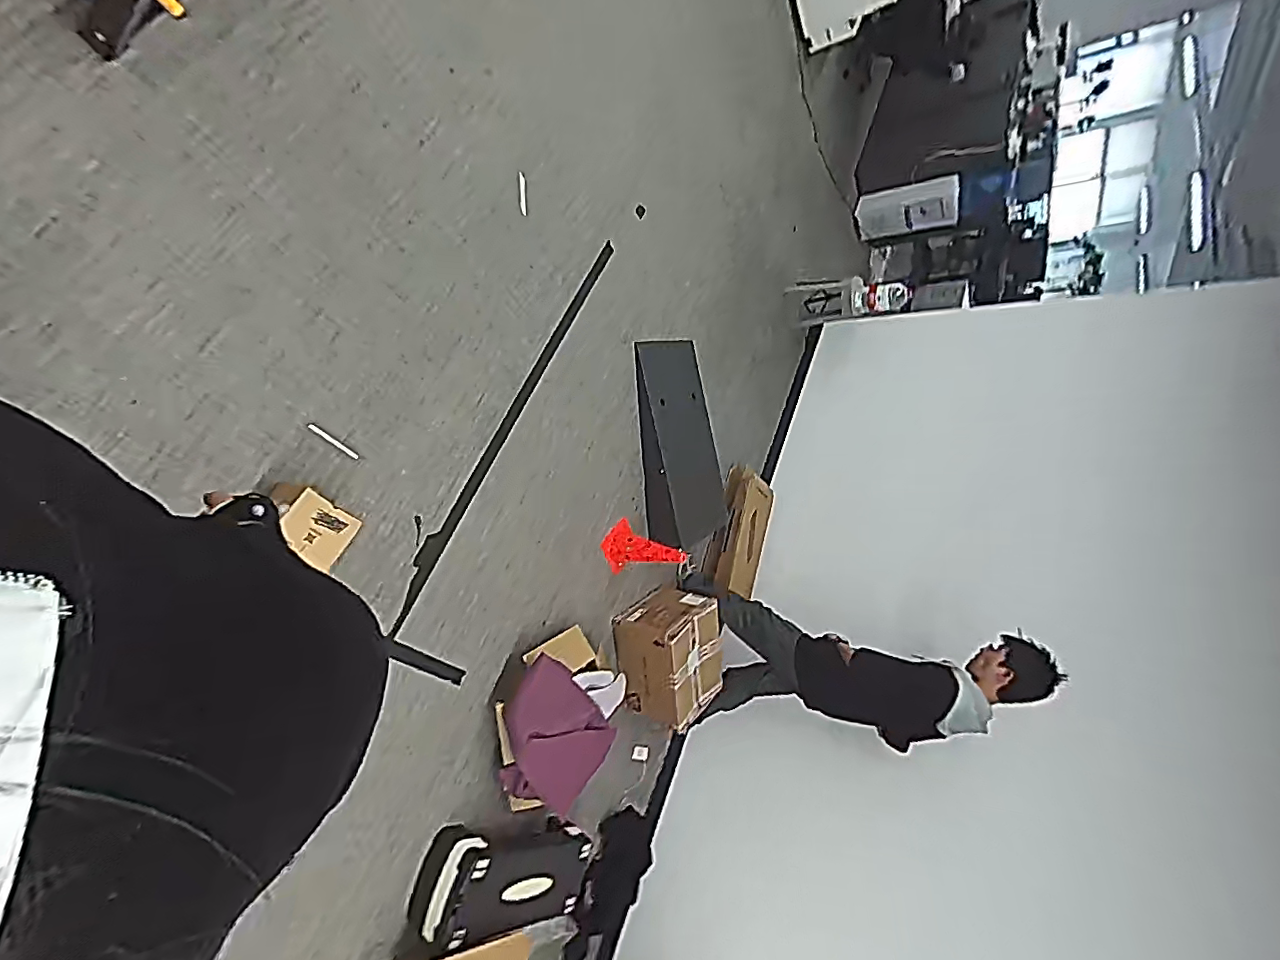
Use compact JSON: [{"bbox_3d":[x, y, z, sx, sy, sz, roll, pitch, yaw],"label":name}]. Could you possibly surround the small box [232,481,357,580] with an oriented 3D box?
[{"bbox_3d":[-0.854,0.118,1.335,0.168,0.176,0.179,53,55,-42],"label":"small box"}]
